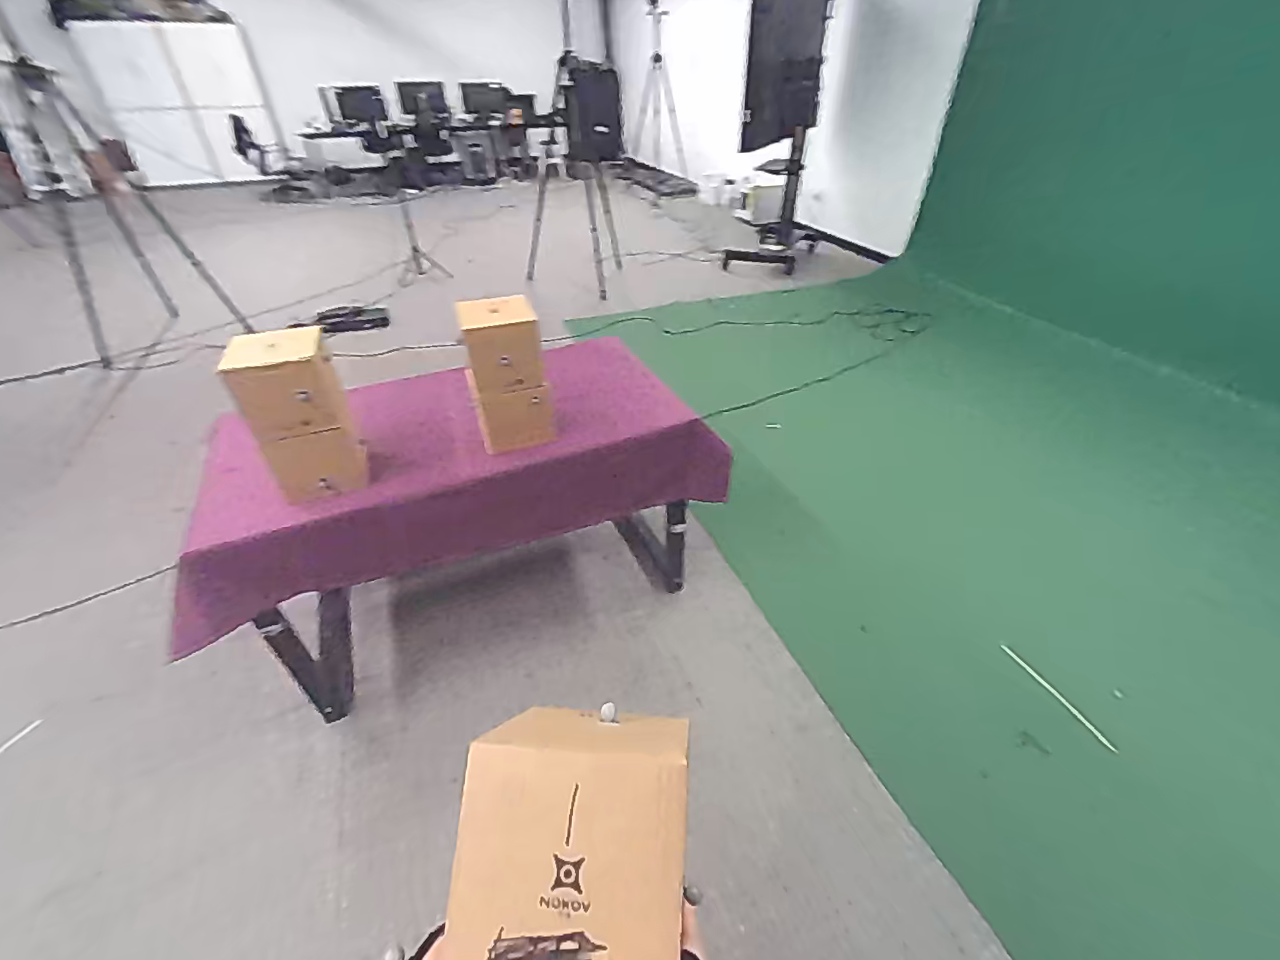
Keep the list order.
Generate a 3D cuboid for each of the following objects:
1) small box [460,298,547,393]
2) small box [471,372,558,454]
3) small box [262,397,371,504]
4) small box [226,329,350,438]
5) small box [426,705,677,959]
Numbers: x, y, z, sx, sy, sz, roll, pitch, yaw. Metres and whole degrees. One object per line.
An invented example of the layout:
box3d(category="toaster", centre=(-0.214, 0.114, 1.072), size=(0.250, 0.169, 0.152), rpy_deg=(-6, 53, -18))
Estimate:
box3d(category="small box", centre=(-0.326, -0.318, 1.298), size=(0.168, 0.176, 0.179), rpy_deg=(-12, 39, -15))
box3d(category="small box", centre=(-0.321, -0.185, 1.395), size=(0.179, 0.176, 0.168), rpy_deg=(-14, 40, -17))
box3d(category="small box", centre=(-0.736, -0.070, 1.254), size=(0.179, 0.176, 0.168), rpy_deg=(-14, 39, -17))
box3d(category="small box", centre=(-0.739, -0.202, 1.158), size=(0.168, 0.176, 0.179), rpy_deg=(-13, 39, -16))
box3d(category="small box", centre=(-0.056, 0.301, 0.456), size=(0.168, 0.176, 0.179), rpy_deg=(2, 75, 6))
